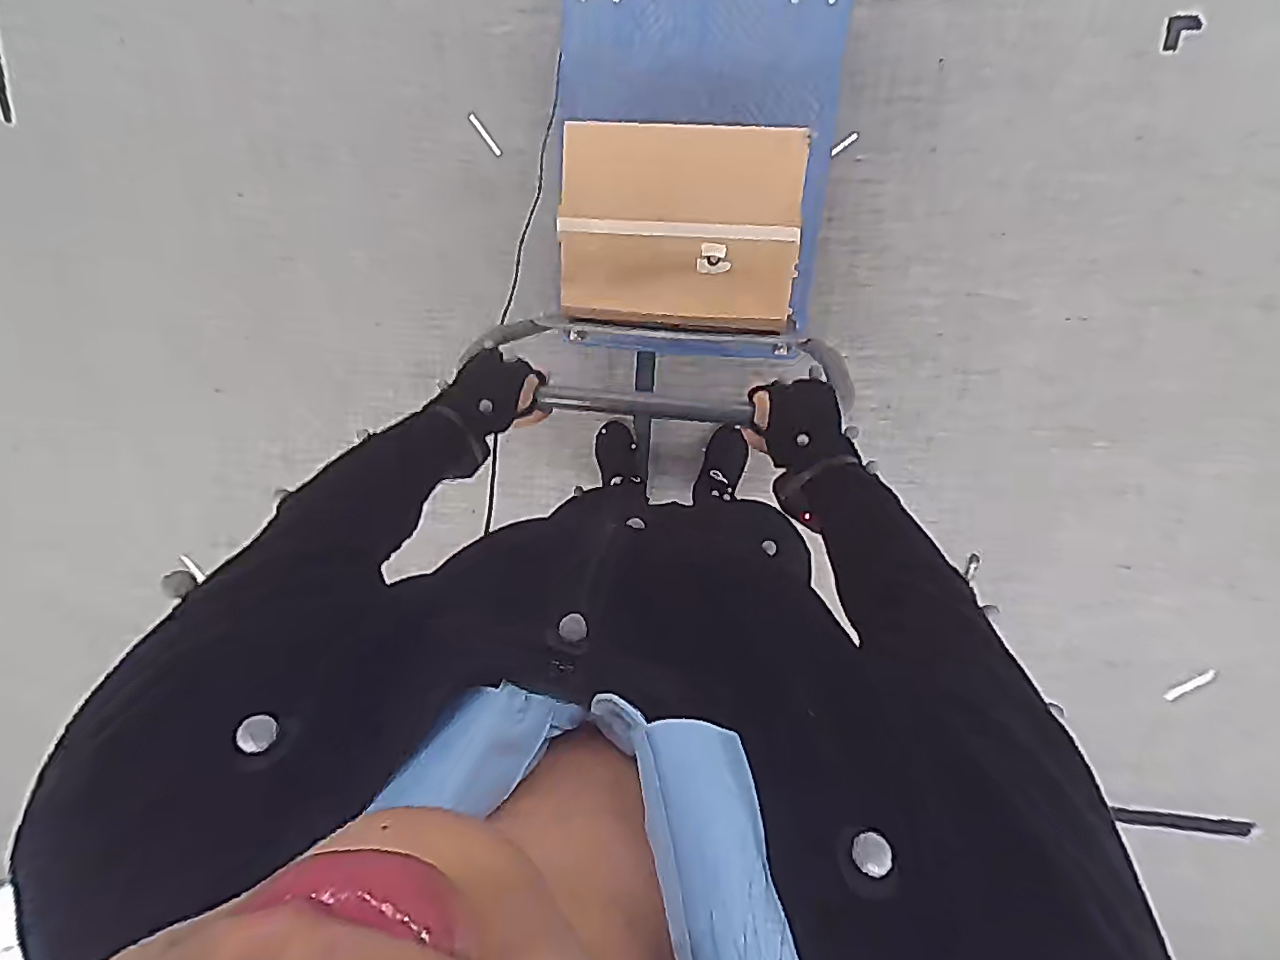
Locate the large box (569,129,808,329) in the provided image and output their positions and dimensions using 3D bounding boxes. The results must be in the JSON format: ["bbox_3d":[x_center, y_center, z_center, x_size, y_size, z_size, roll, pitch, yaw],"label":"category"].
[{"bbox_3d":[0.085,-0.472,1.080,0.408,0.320,0.320,5,108,5],"label":"large box"}]
